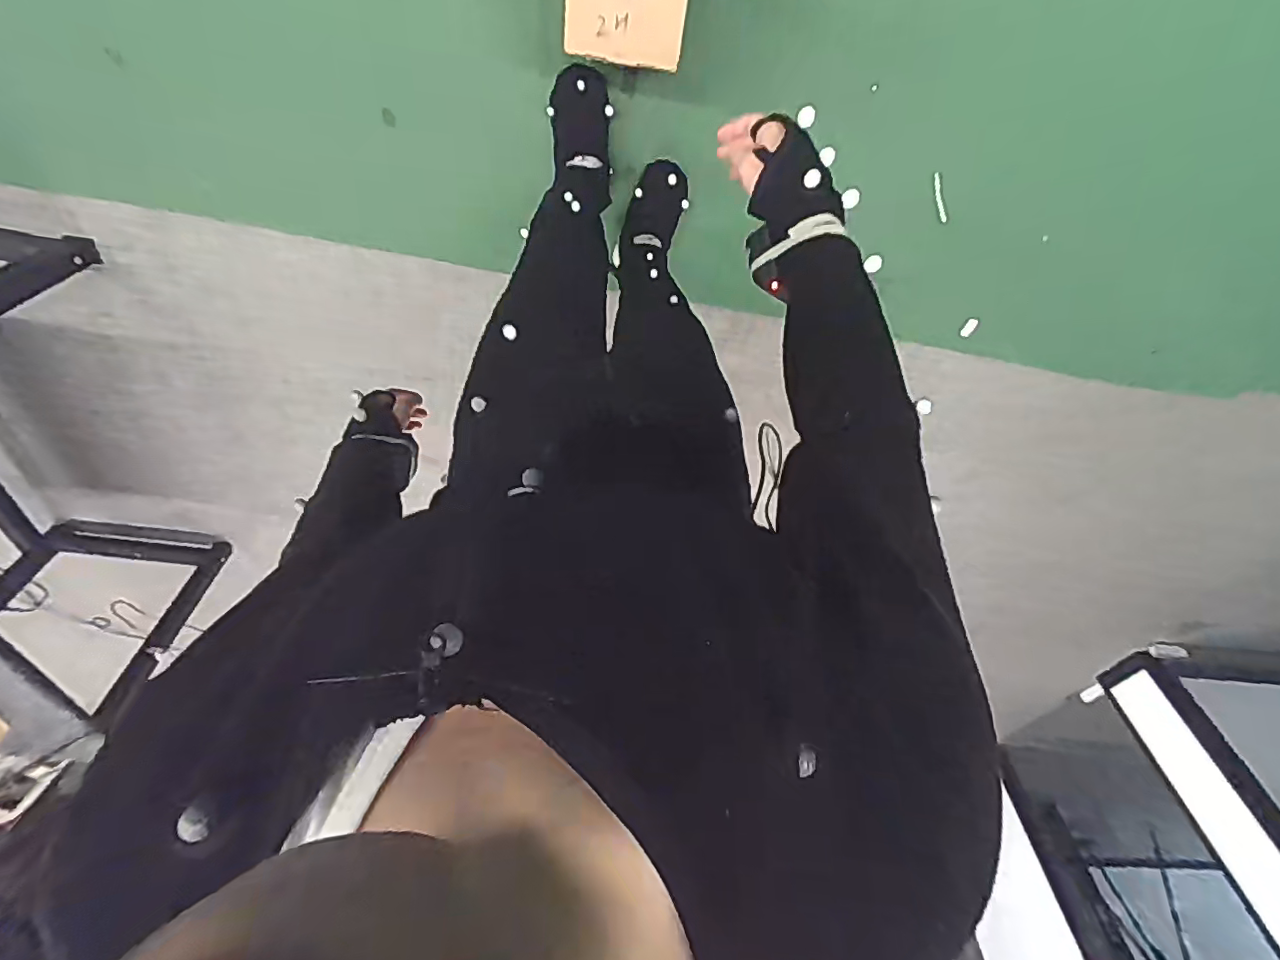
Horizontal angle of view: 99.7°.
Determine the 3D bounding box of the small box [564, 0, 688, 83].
[{"bbox_3d":[-0.017,-0.708,0.786,0.168,0.176,0.179,6,132,-6],"label":"small box"}]
